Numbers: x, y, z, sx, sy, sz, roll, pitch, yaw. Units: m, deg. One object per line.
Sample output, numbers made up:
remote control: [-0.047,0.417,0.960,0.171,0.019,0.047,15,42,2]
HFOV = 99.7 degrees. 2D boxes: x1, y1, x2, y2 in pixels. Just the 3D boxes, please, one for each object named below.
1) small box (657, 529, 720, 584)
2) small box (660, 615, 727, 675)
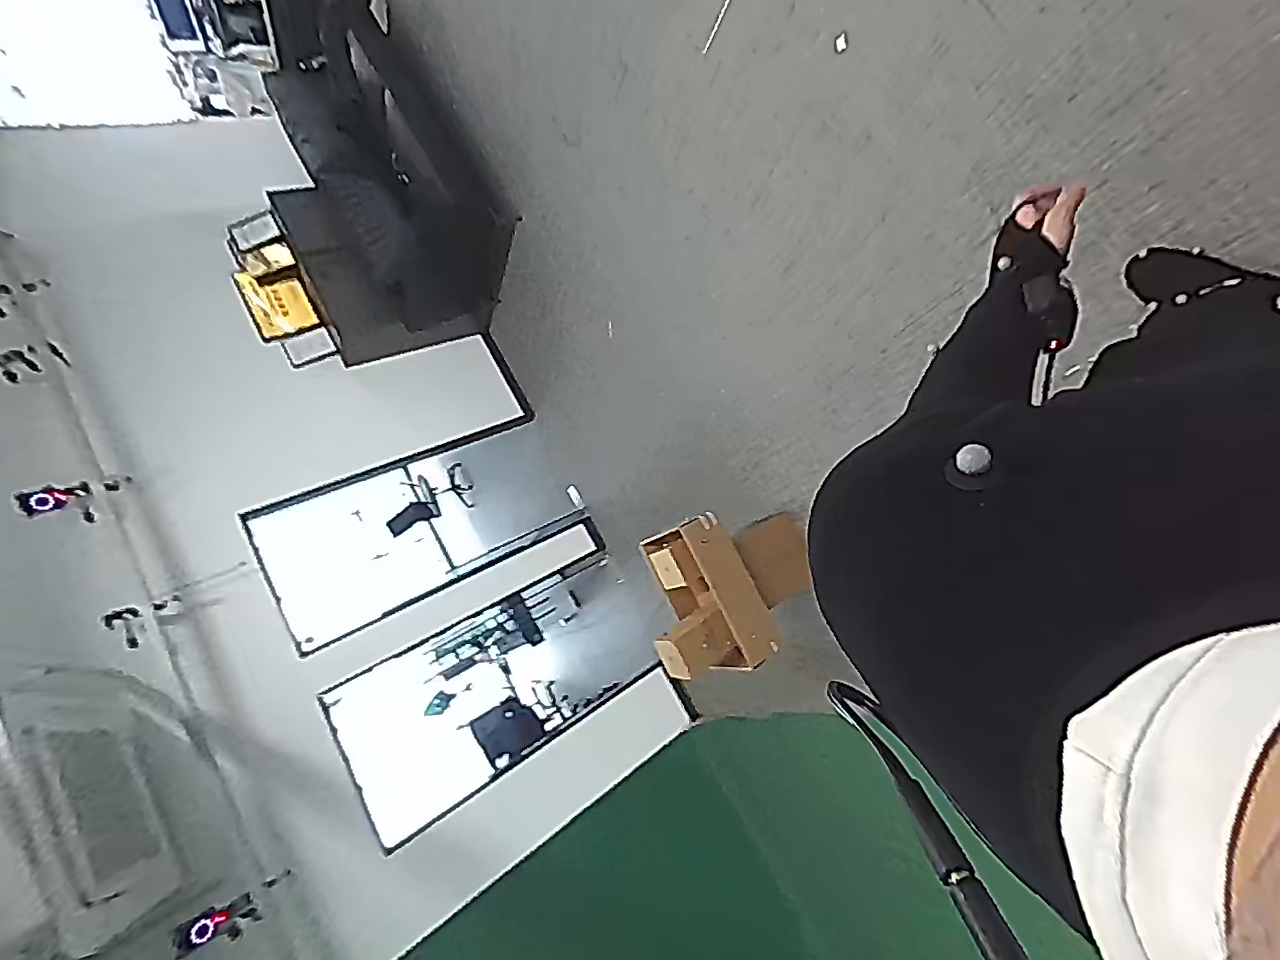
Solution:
small box: [0.204,0.321,2.266,0.168,0.176,0.179,63,150,4]
small box: [0.213,0.654,2.160,0.168,0.176,0.179,64,151,1]
